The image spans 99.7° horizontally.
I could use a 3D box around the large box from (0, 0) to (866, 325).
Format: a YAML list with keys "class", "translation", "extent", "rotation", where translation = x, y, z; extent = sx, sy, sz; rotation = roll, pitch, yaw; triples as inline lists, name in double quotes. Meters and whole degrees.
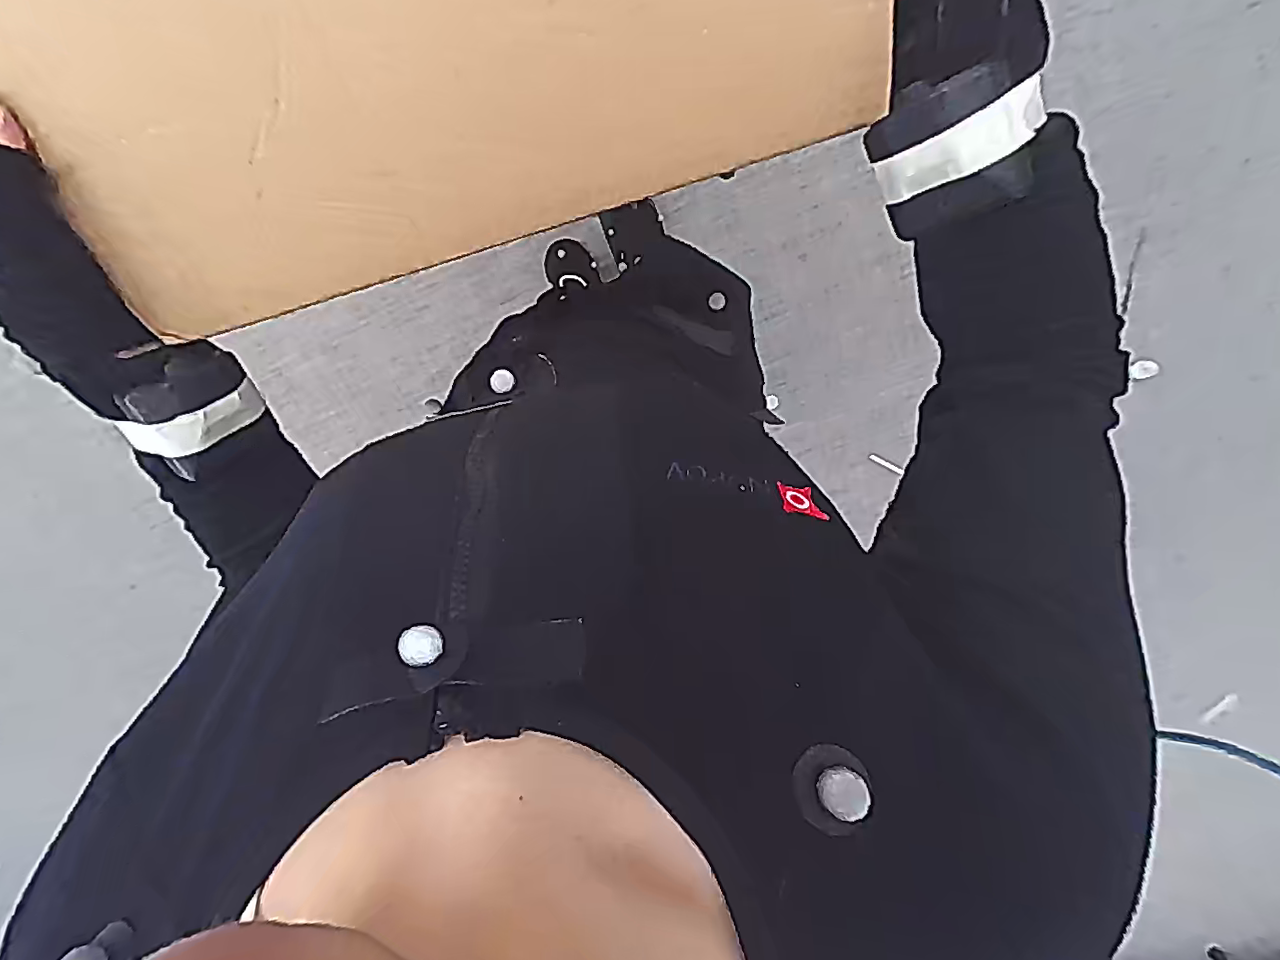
- class: "large box"
  translation: [-0.129, -0.346, 0.306]
  extent: [0.408, 0.320, 0.320]
  rotation: [-15, 129, 6]
